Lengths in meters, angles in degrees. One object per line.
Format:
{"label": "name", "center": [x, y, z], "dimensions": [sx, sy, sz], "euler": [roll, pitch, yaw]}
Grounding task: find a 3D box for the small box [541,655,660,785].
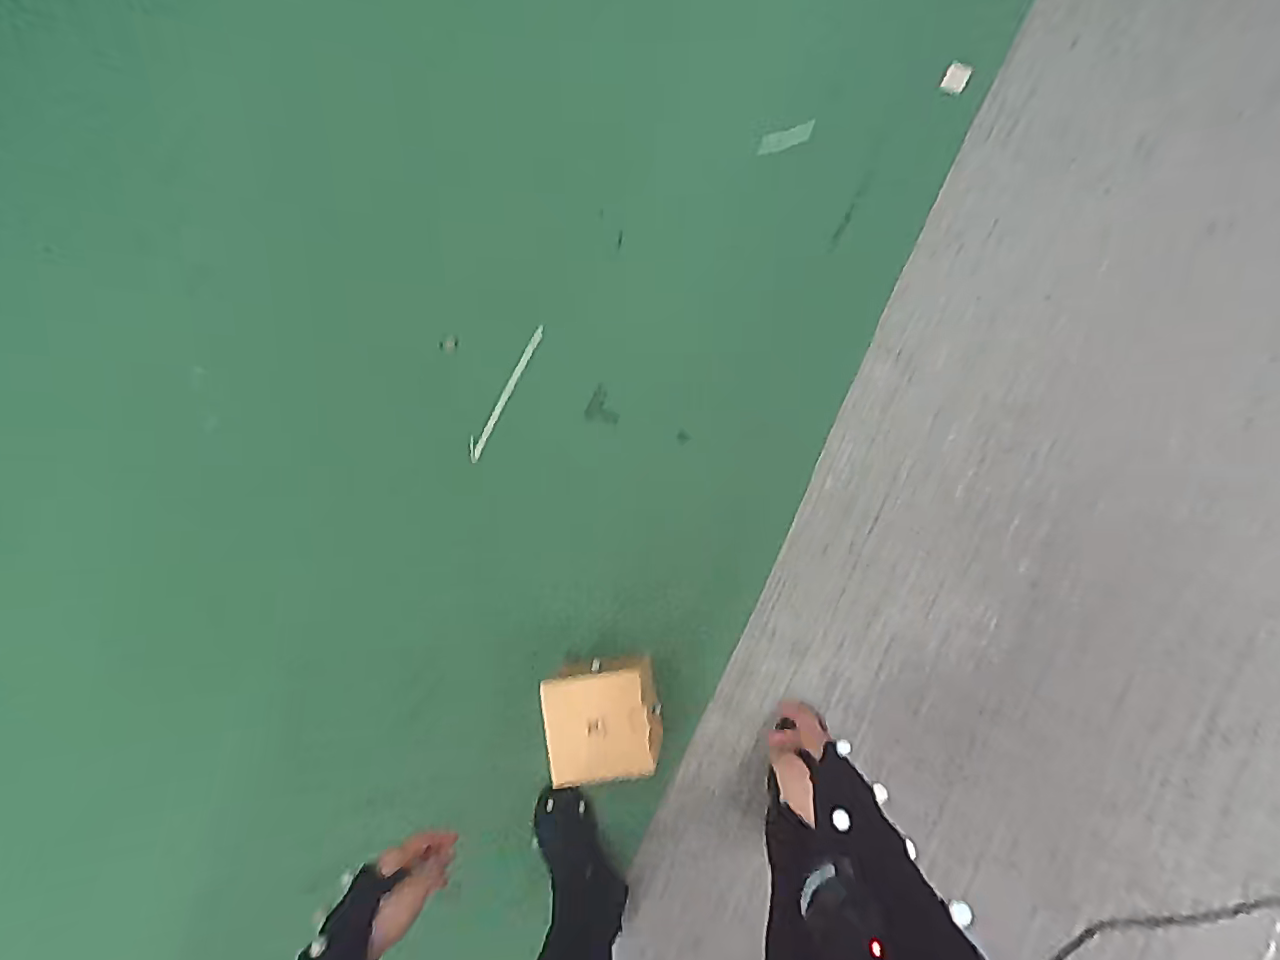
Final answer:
{"label": "small box", "center": [-0.065, 0.426, 0.982], "dimensions": [0.179, 0.176, 0.168], "euler": [-11, 81, 3]}
